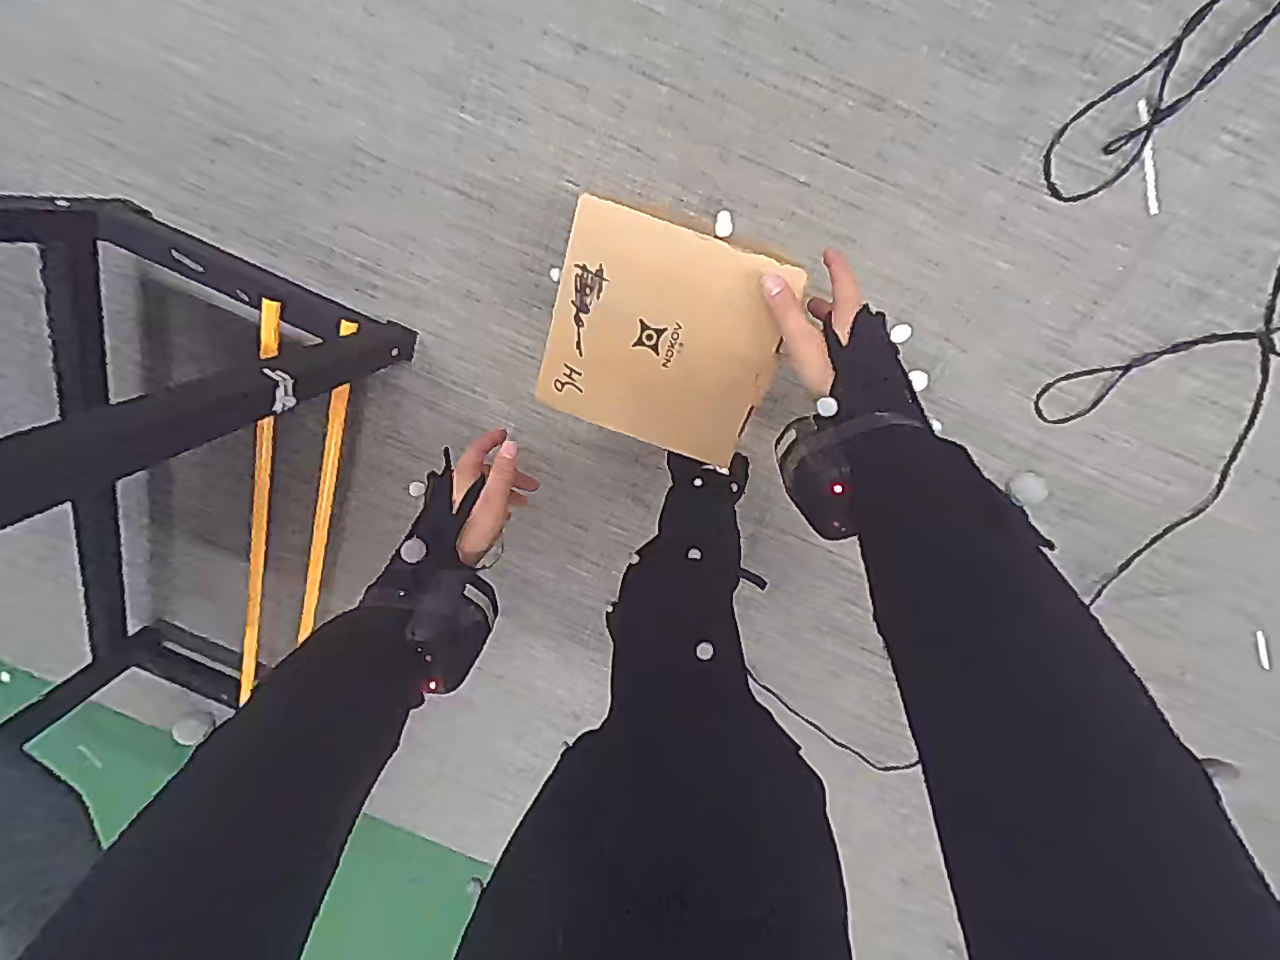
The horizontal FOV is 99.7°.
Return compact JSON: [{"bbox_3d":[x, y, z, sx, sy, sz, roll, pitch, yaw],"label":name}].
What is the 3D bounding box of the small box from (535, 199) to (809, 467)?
[{"bbox_3d":[0.028,-0.140,0.494,0.179,0.176,0.168,20,115,0],"label":"small box"}]
